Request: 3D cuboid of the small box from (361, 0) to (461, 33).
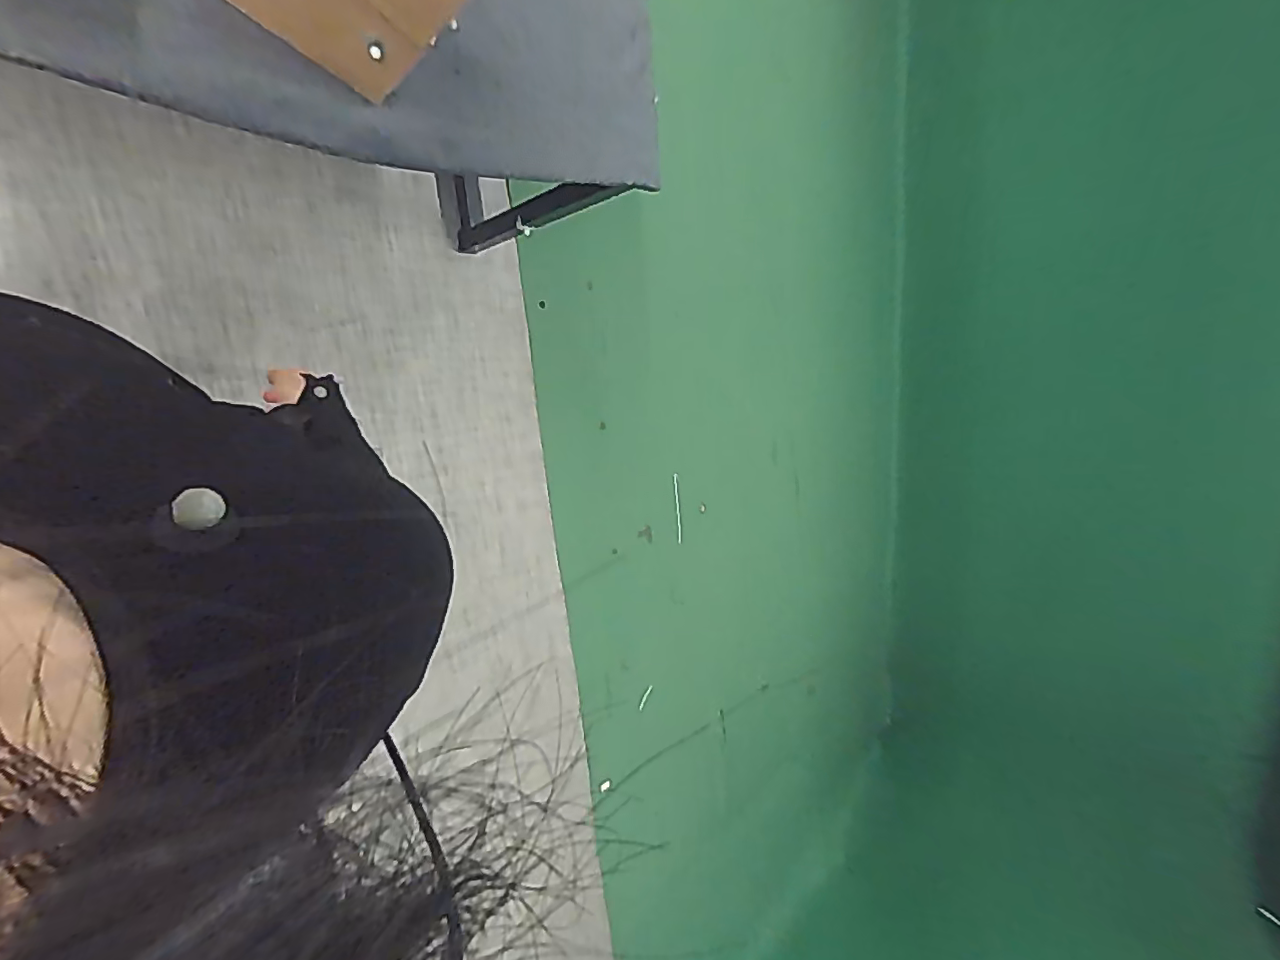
[{"bbox_3d":[-0.217,-0.562,0.491,0.179,0.176,0.168,29,74,-43],"label":"small box"}]
